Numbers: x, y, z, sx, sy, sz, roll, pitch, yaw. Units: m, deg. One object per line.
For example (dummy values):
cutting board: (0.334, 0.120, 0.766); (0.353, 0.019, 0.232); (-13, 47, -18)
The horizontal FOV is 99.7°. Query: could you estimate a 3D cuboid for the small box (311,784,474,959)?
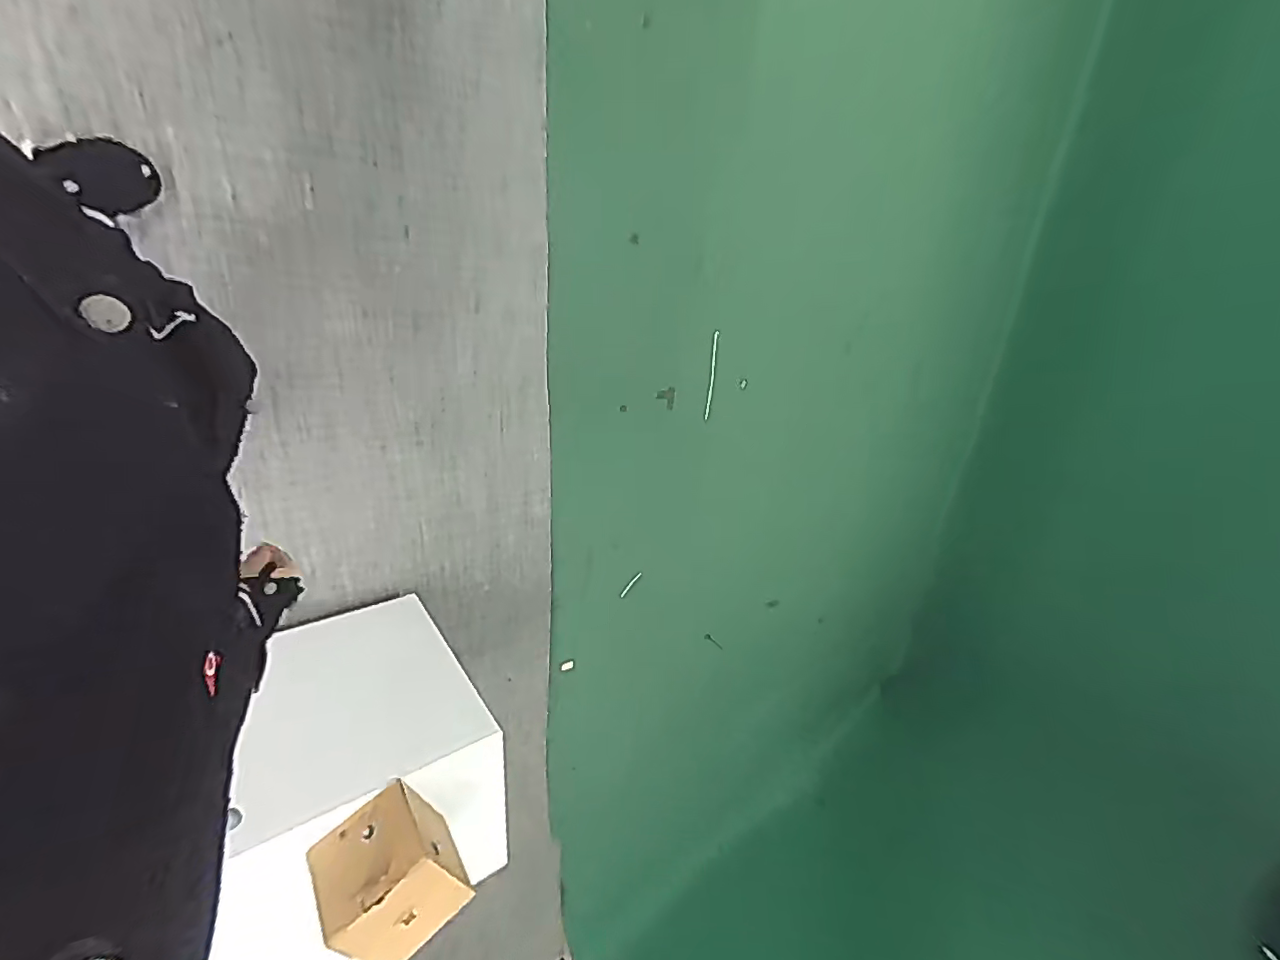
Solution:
small box: (-0.413, 0.656, 0.905); (0.168, 0.176, 0.179); (-36, 129, -23)
